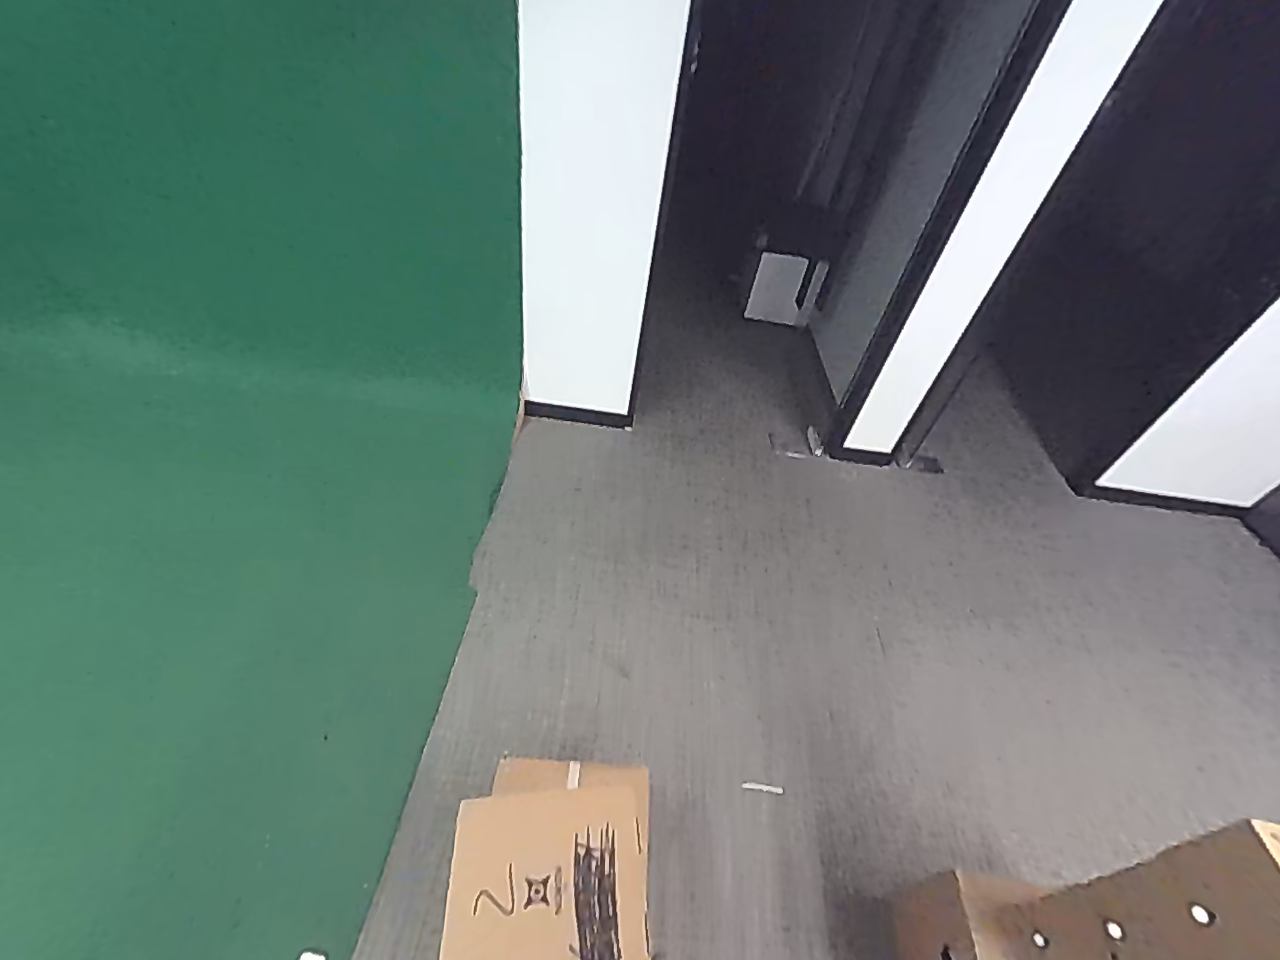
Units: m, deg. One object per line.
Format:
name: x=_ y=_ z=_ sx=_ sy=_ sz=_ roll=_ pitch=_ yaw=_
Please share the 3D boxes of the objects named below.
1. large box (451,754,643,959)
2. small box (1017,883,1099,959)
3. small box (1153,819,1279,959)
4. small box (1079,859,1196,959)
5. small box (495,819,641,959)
large box: x=-0.170 y=0.826 z=1.078 sx=0.320 sy=0.320 sz=0.408 roll=8 pitch=42 yaw=-4
small box: x=0.801 y=0.827 z=0.924 sx=0.179 sy=0.176 sz=0.168 roll=14 pitch=41 yaw=4
small box: x=0.851 y=0.586 z=0.706 sx=0.168 sy=0.176 sz=0.179 roll=15 pitch=42 yaw=3
small box: x=0.828 y=0.710 z=0.812 sx=0.179 sy=0.176 sz=0.168 roll=15 pitch=41 yaw=5
small box: x=-0.096 y=0.595 z=0.737 sx=0.168 sy=0.176 sz=0.179 roll=9 pitch=42 yaw=-3
